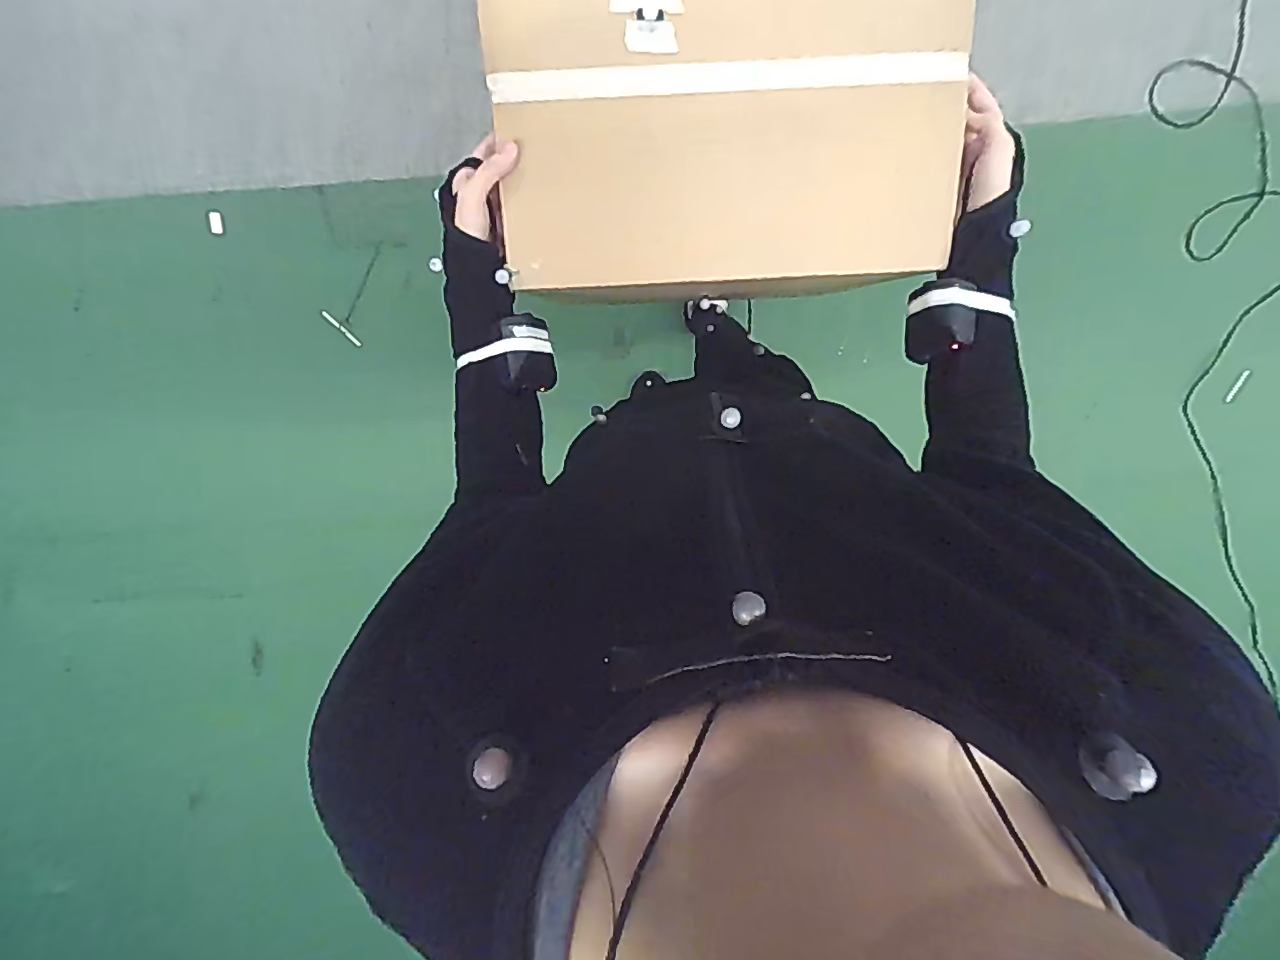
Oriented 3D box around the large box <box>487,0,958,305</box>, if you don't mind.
[{"bbox_3d":[0.074,-0.381,0.614,0.408,0.320,0.320,-4,103,1],"label":"large box"}]
